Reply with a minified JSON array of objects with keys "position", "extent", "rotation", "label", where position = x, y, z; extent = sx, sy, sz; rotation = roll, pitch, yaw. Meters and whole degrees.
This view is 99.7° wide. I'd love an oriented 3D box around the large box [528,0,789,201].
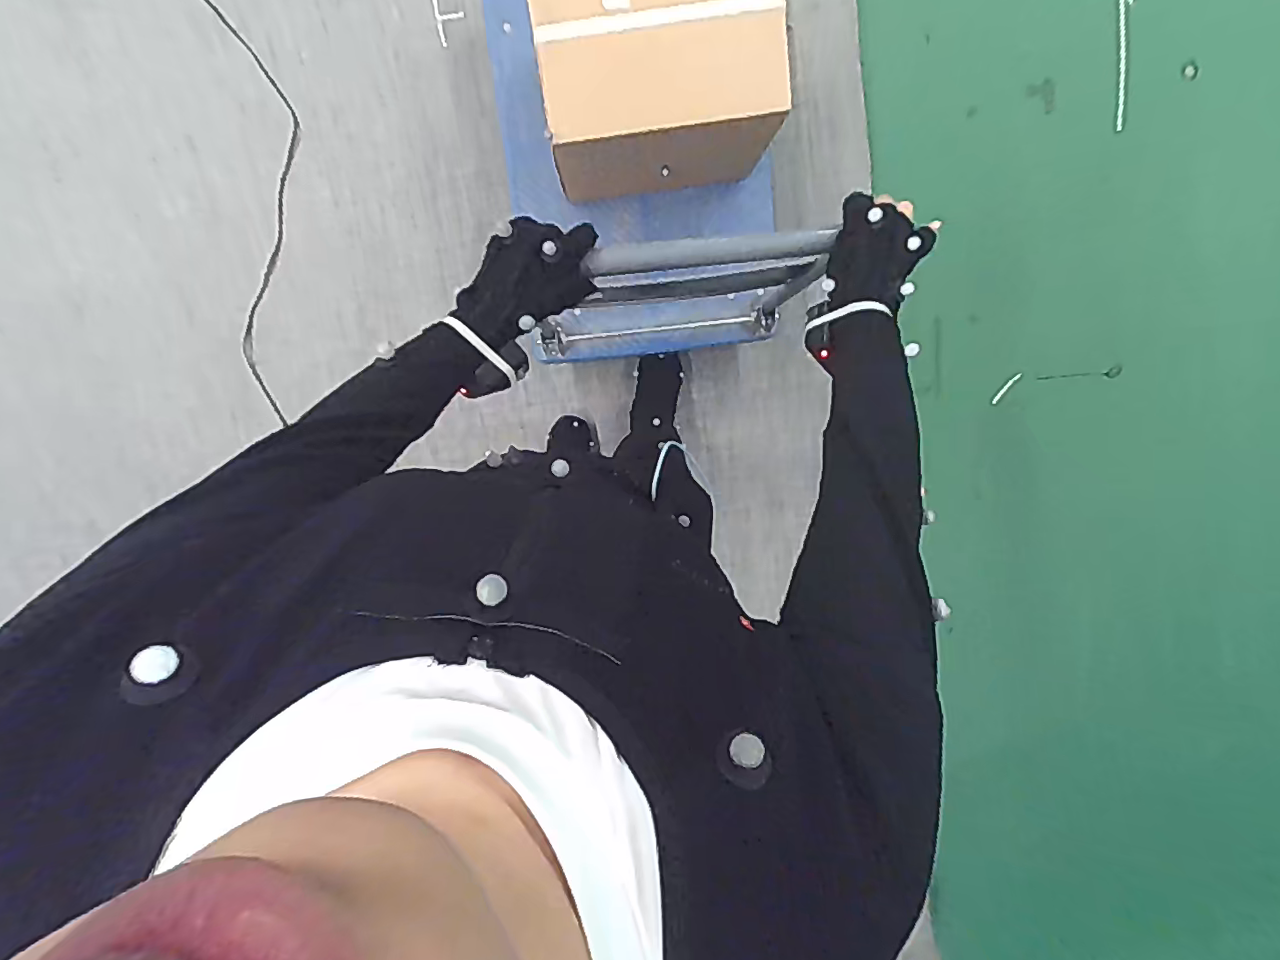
[{"position":[0.026,-0.758,1.015],"extent":[0.408,0.320,0.320],"rotation":[-9,100,-1],"label":"large box"}]
